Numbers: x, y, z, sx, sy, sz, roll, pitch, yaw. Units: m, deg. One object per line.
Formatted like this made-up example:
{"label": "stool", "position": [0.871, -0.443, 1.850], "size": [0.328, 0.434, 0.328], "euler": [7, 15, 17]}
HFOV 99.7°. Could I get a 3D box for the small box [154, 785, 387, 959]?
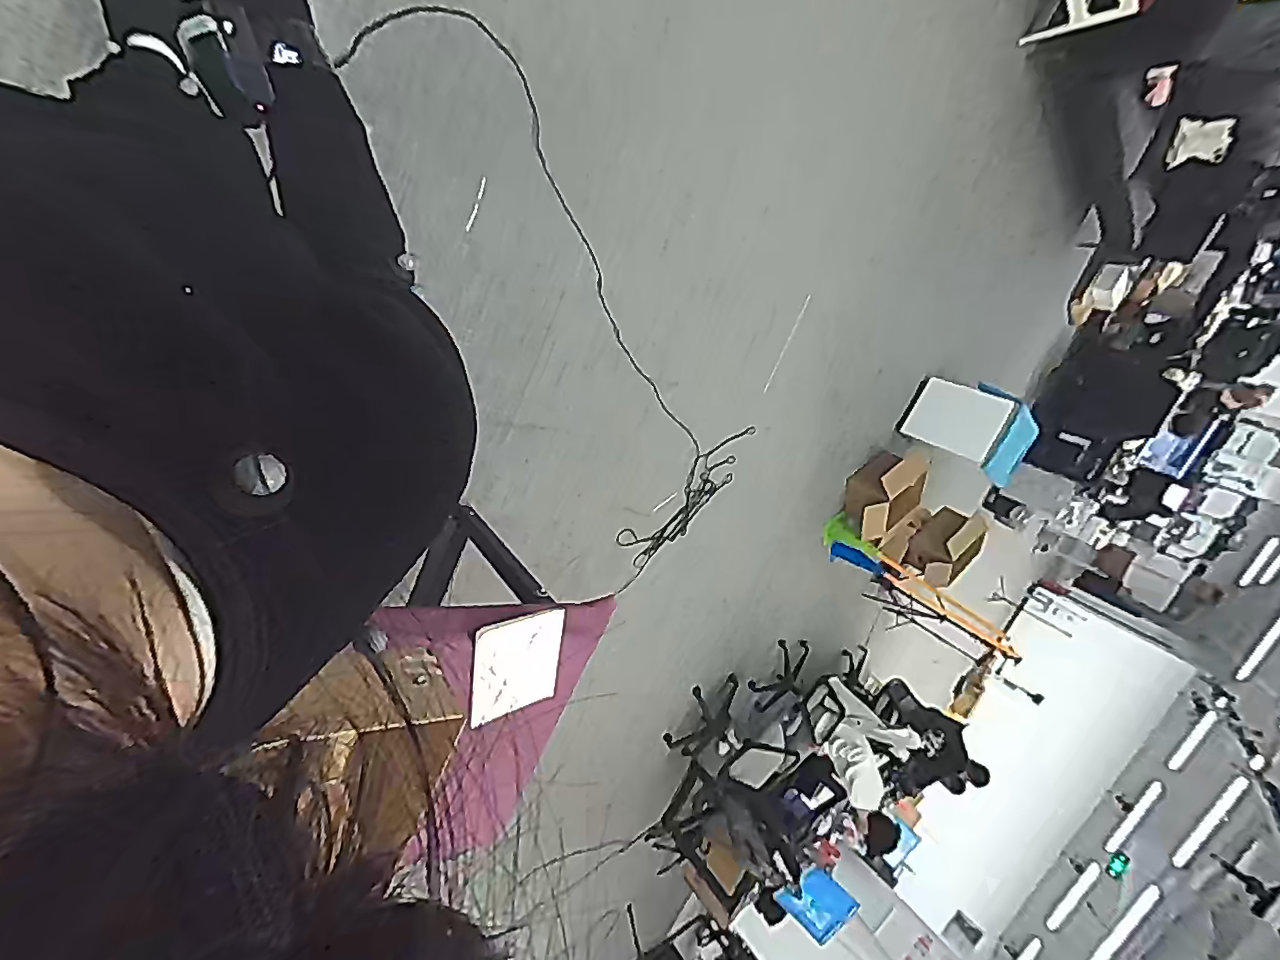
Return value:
{"label": "small box", "position": [-0.439, 0.500, 0.640], "size": [0.179, 0.176, 0.168], "euler": [15, 106, -47]}
